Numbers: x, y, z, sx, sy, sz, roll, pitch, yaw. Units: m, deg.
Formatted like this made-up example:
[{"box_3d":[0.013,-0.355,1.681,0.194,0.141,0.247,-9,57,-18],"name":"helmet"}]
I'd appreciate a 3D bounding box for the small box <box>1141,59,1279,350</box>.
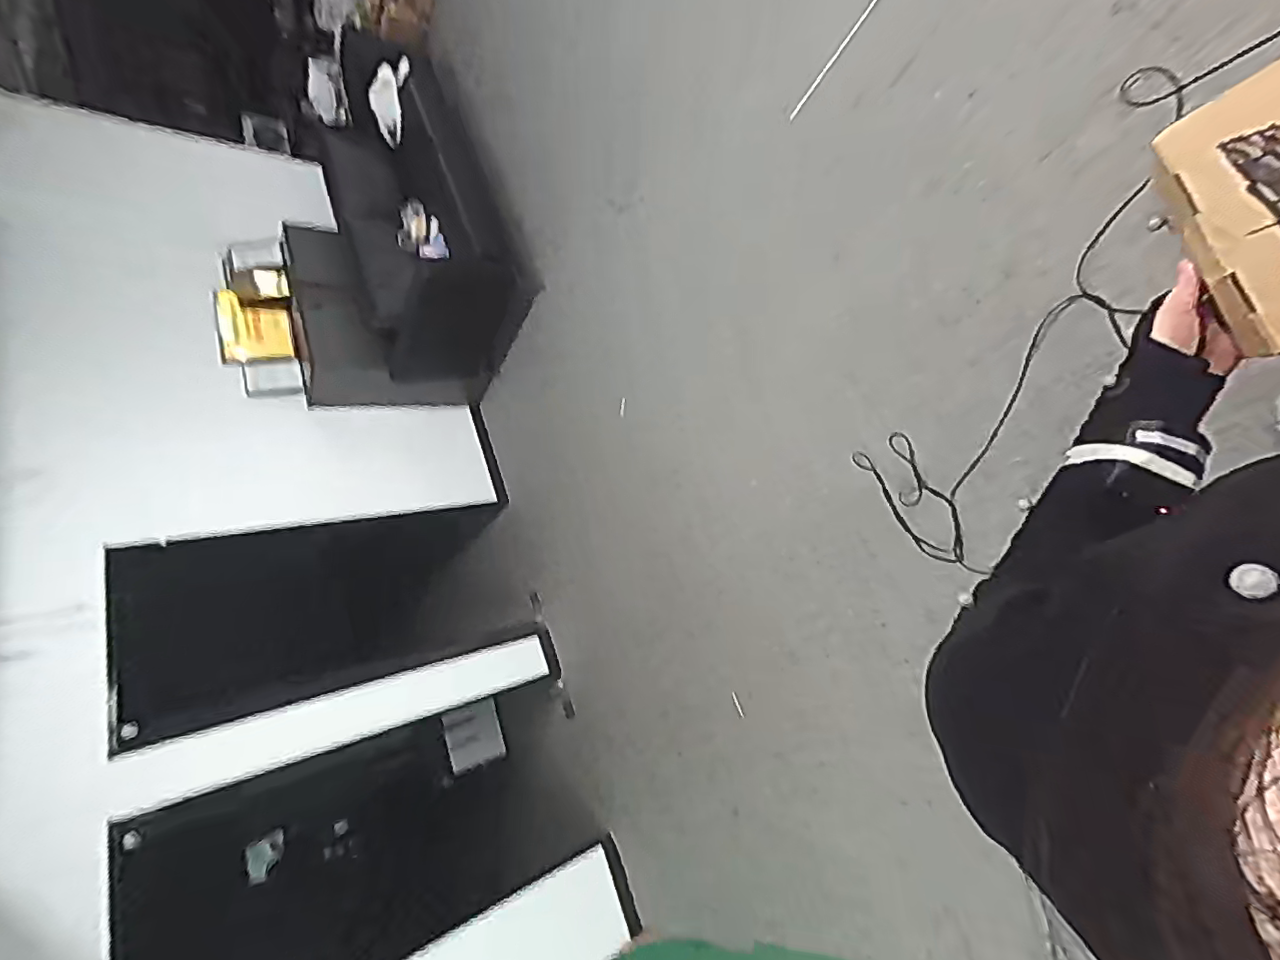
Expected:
[{"box_3d":[0.480,-0.198,0.358,0.179,0.176,0.168,-29,81,42],"name":"small box"}]
